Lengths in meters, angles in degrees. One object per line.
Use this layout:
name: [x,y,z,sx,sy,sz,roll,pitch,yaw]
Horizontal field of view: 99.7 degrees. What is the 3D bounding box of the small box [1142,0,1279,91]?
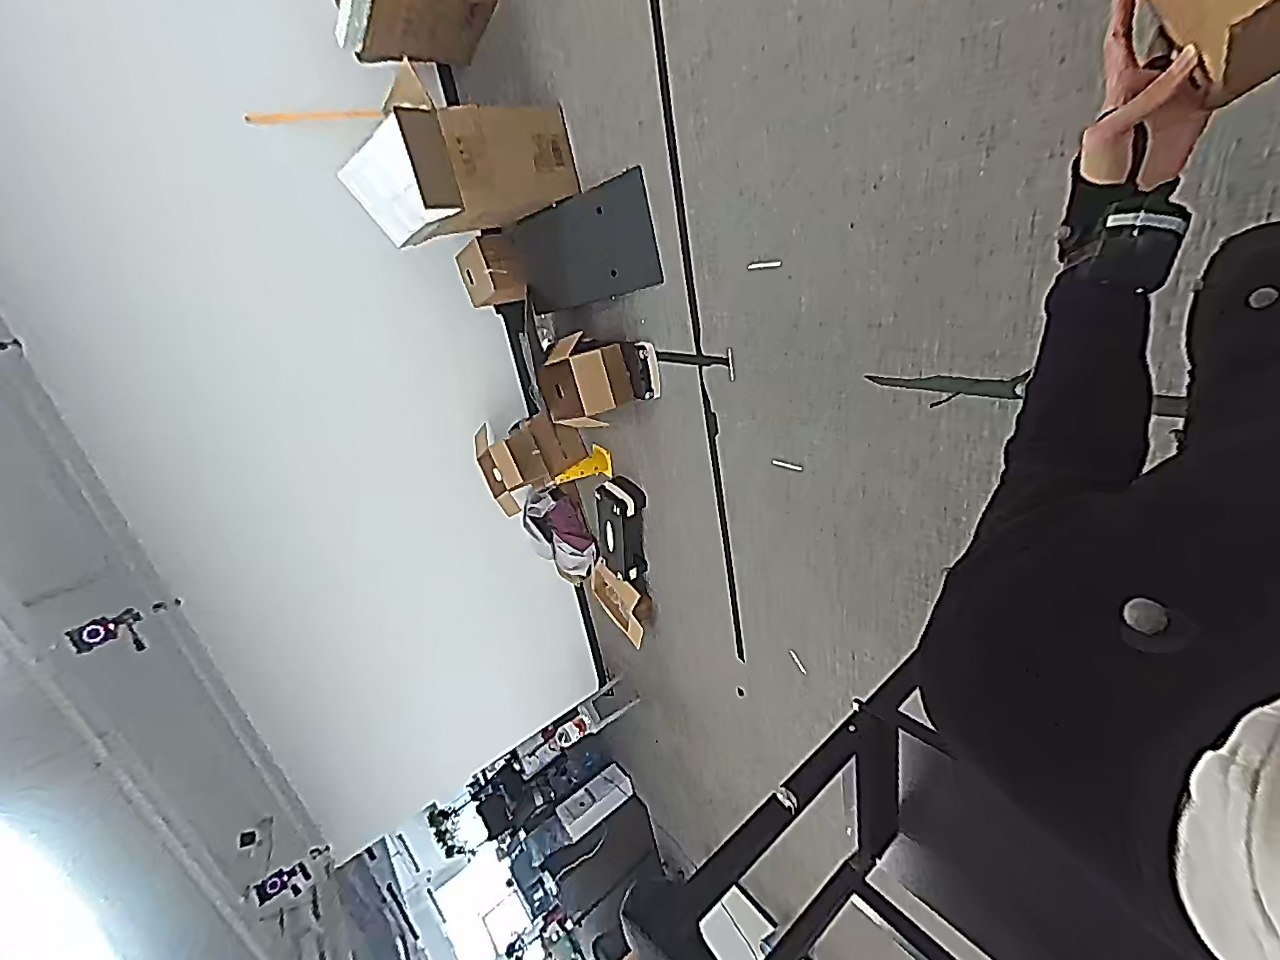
small box: [0.402,-0.370,0.313,0.168,0.176,0.179,-29,79,46]
